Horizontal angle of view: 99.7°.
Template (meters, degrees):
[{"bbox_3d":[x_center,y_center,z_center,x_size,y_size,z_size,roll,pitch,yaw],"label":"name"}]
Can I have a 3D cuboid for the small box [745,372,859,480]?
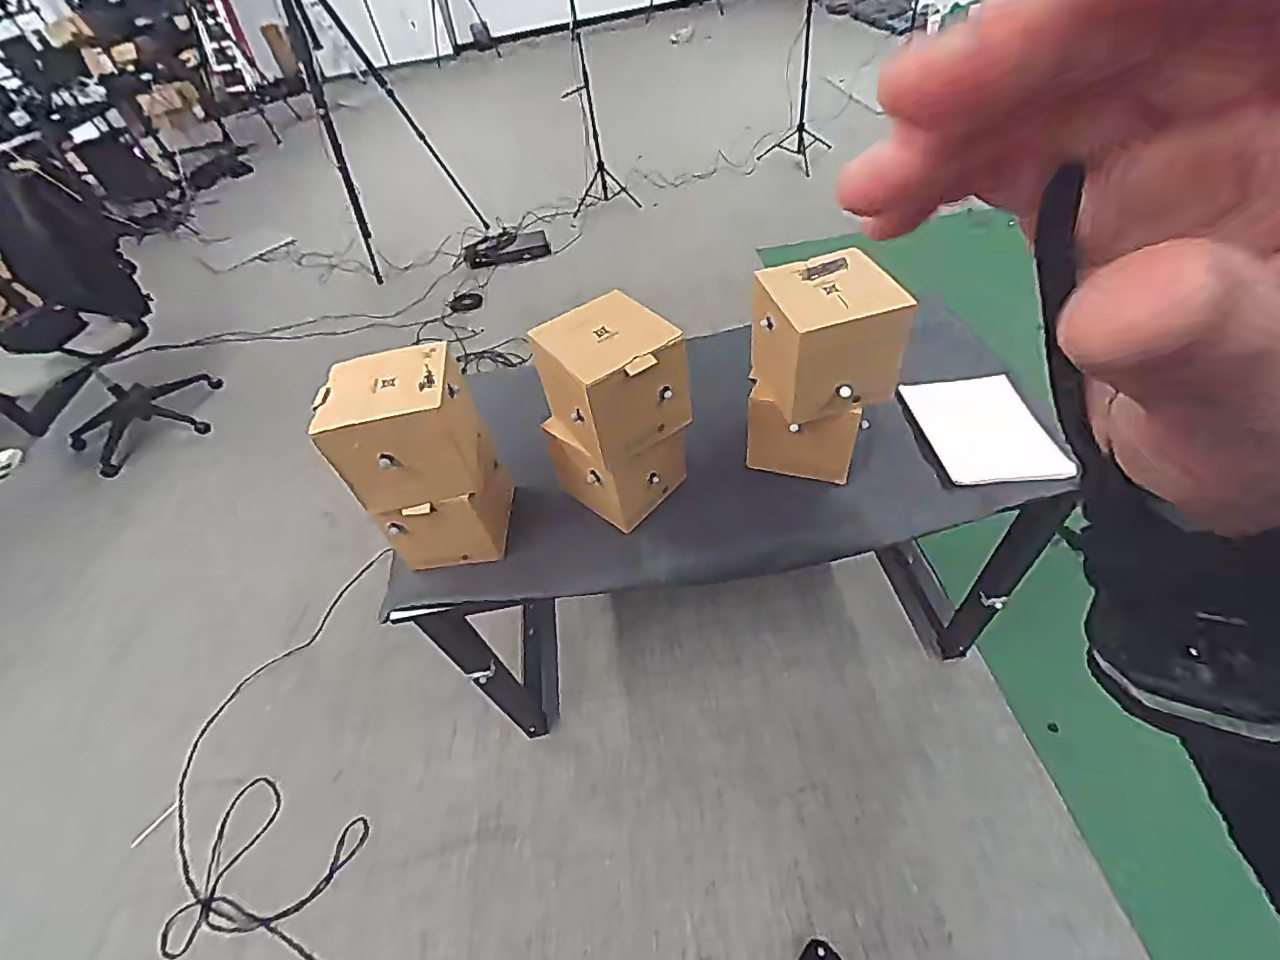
[{"bbox_3d":[0.290,-0.120,0.955,0.179,0.176,0.168,11,52,20],"label":"small box"}]

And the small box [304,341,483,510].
[{"bbox_3d":[-0.351,-0.076,0.807,0.179,0.176,0.168,-13,47,-2],"label":"small box"}]

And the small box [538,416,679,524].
[{"bbox_3d":[-0.045,-0.047,0.949,0.179,0.176,0.168,31,60,31],"label":"small box"}]

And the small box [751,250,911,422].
[{"bbox_3d":[0.272,-0.217,0.822,0.168,0.176,0.179,-15,48,-2],"label":"small box"}]

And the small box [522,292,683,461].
[{"bbox_3d":[-0.049,-0.151,0.823,0.168,0.176,0.179,-32,51,-19],"label":"small box"}]
